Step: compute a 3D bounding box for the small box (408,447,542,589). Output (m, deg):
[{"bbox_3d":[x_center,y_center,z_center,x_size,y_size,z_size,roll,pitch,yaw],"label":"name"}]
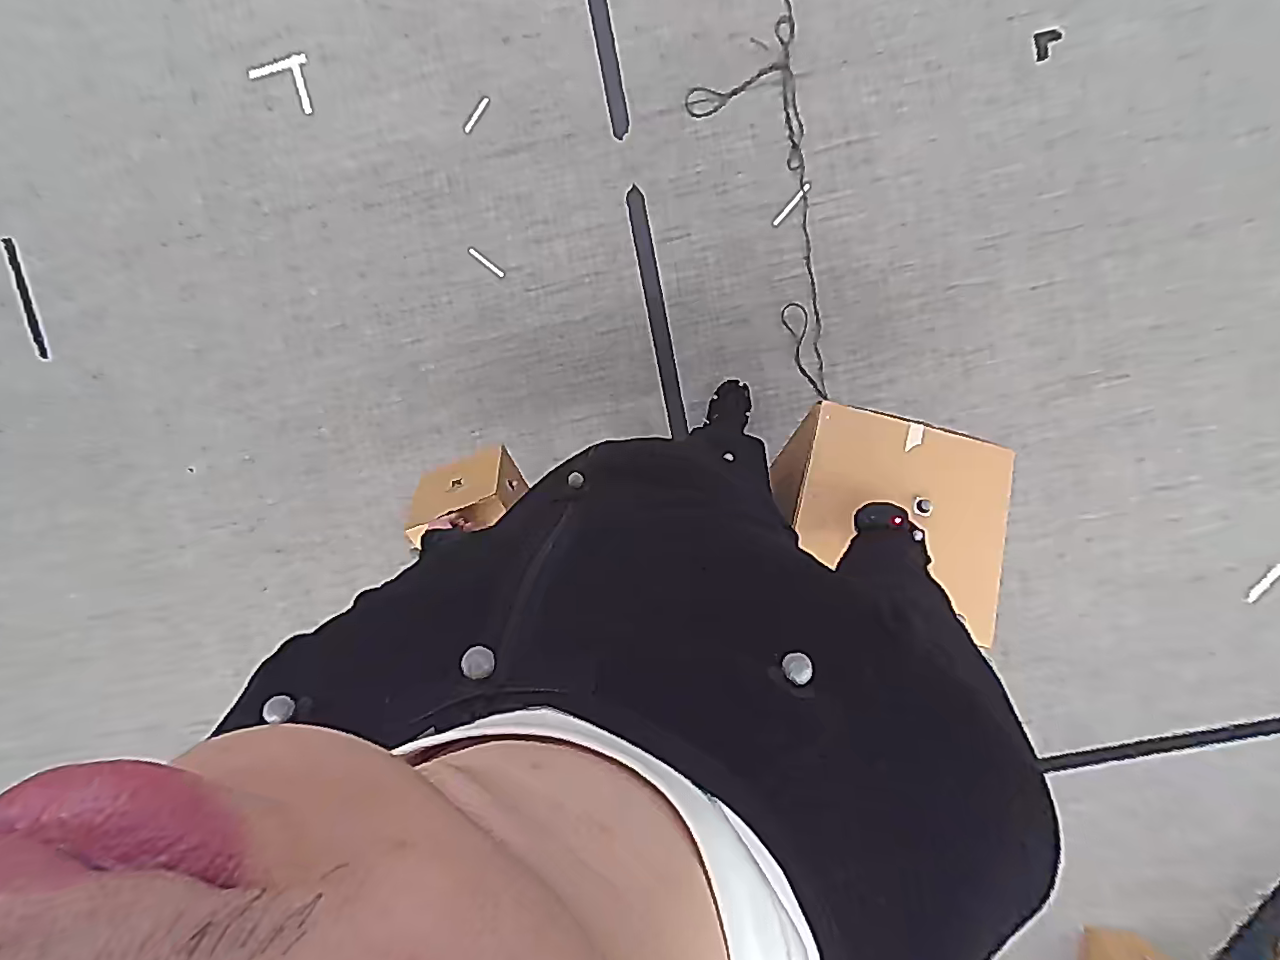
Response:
[{"bbox_3d":[-0.287,0.074,0.983,0.168,0.179,0.176,-21,123,3],"label":"small box"}]
